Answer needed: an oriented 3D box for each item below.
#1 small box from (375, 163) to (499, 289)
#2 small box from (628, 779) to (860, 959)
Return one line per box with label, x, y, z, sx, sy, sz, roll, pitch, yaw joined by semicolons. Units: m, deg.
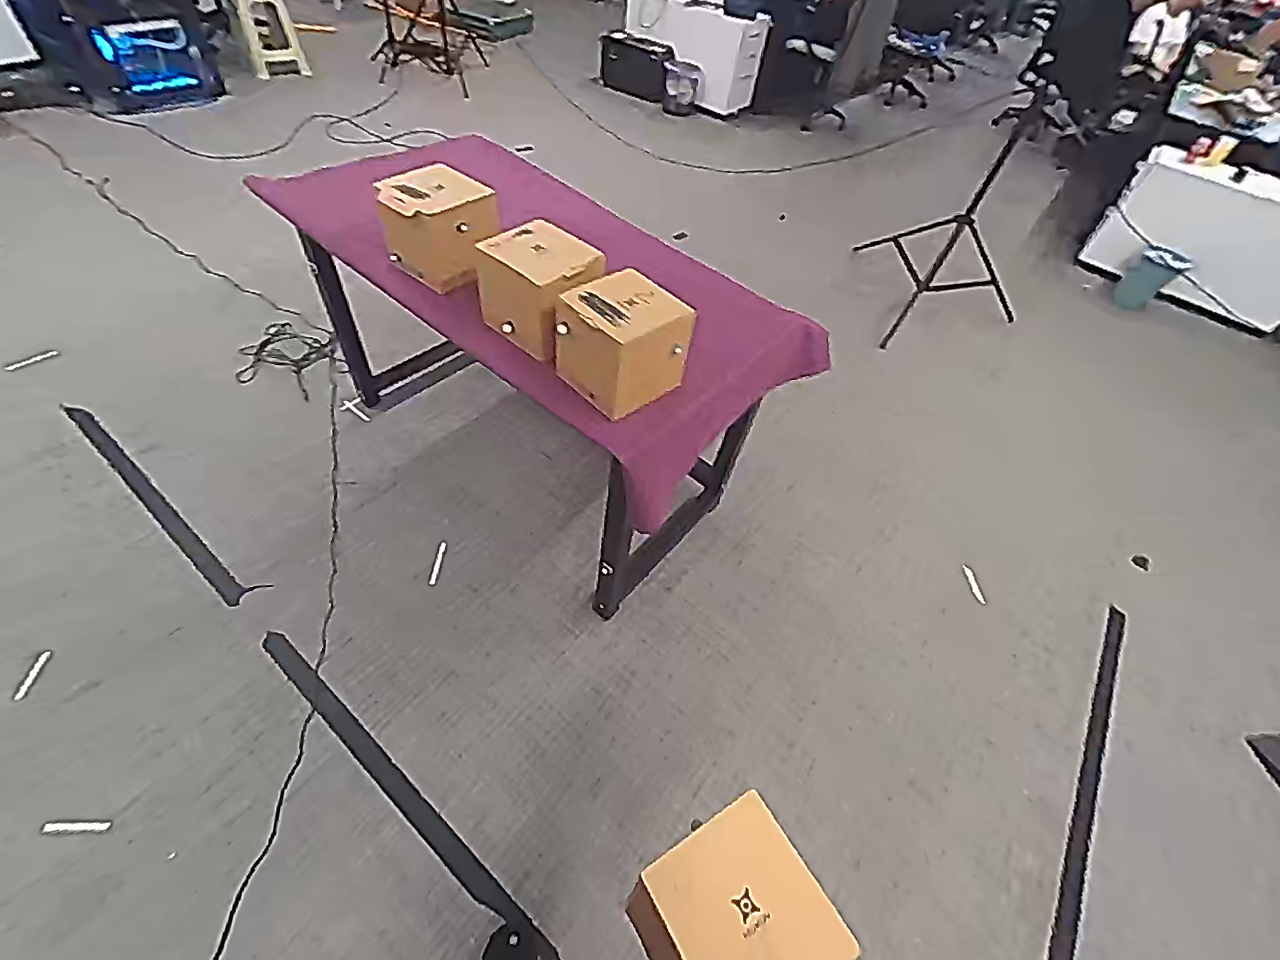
small box;-0.414;-0.532;1.138;0.168;0.176;0.179;34;54;17
small box;0.102;0.491;0.617;0.168;0.176;0.179;-20;53;-28
